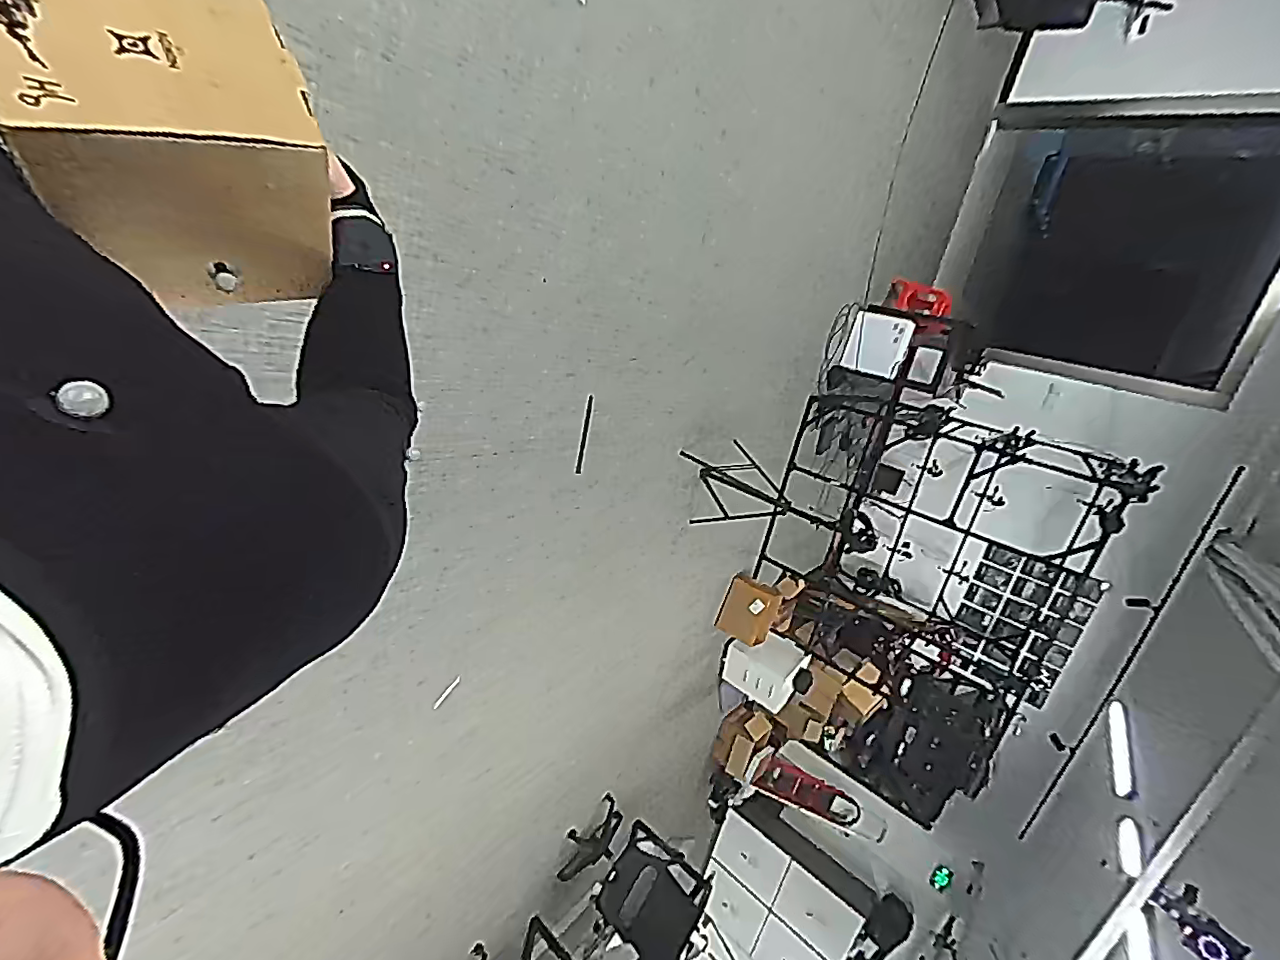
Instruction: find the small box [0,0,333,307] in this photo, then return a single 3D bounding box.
[{"bbox_3d":[-0.382,-0.270,0.459,0.179,0.168,0.176,-19,165,-34],"label":"small box"}]
